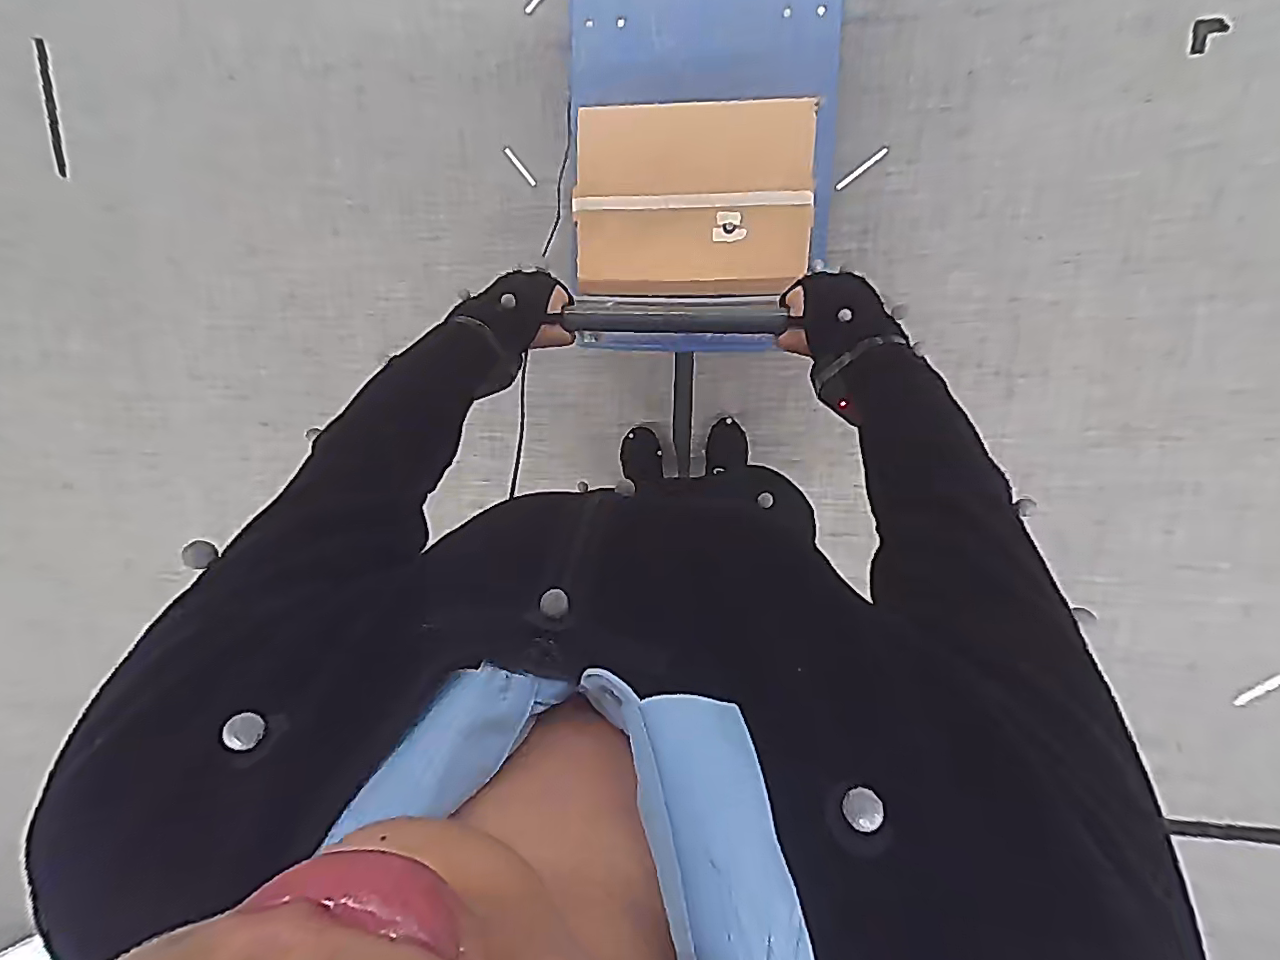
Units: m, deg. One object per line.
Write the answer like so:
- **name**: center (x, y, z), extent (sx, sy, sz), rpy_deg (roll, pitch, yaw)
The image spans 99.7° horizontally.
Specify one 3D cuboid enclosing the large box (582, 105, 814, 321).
- **large box**: center (0.108, -0.505, 1.097), extent (0.408, 0.320, 0.320), rpy_deg (2, 100, 6)
